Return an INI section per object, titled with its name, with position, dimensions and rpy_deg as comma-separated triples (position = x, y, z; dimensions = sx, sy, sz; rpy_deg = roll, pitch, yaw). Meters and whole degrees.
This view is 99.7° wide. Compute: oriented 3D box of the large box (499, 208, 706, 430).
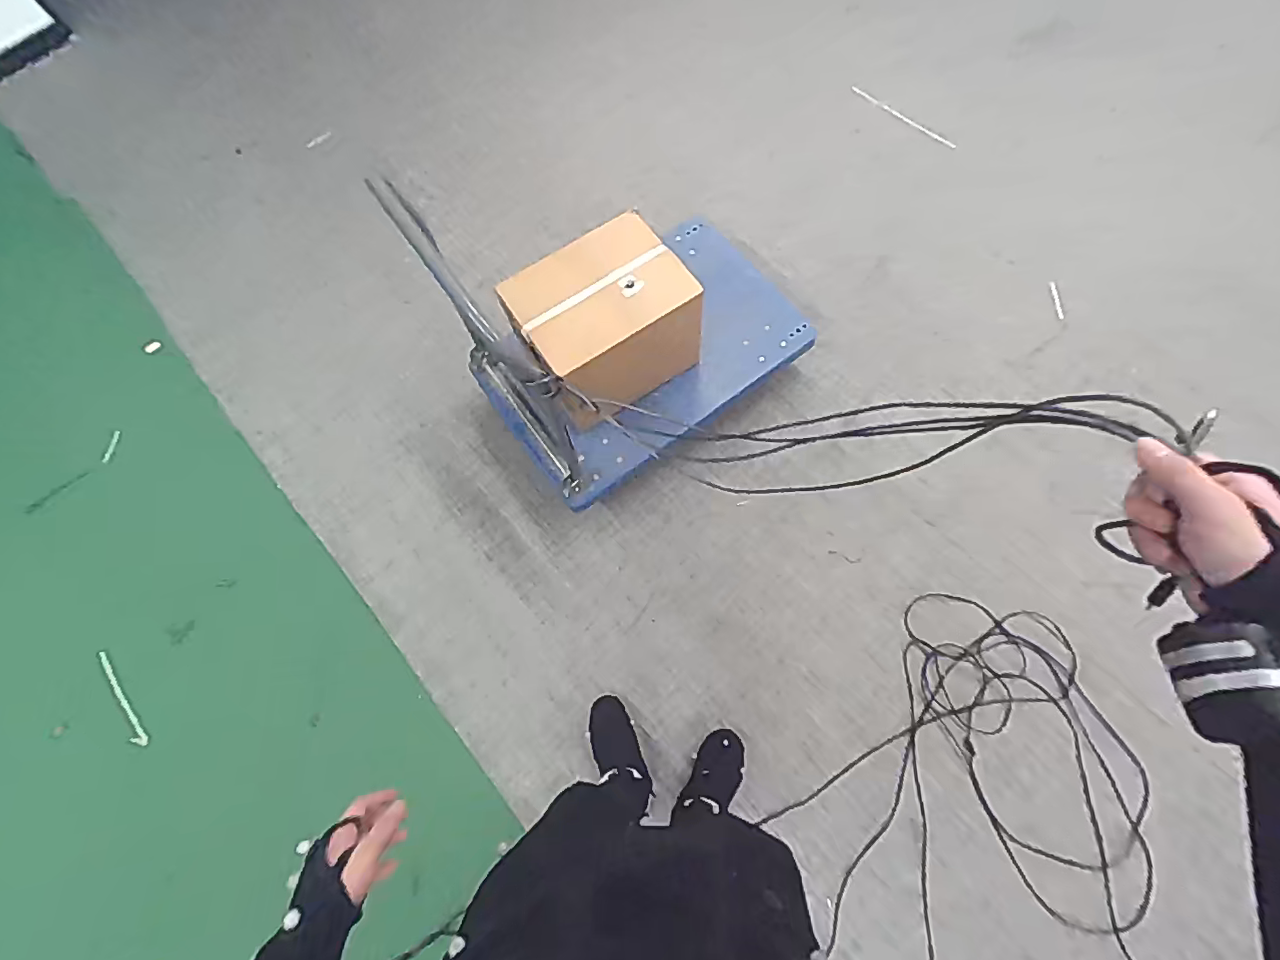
[large box]
position = -0.083, -0.401, 1.404
dimensions = 0.408, 0.320, 0.320
rpy_deg = -33, 73, -8
